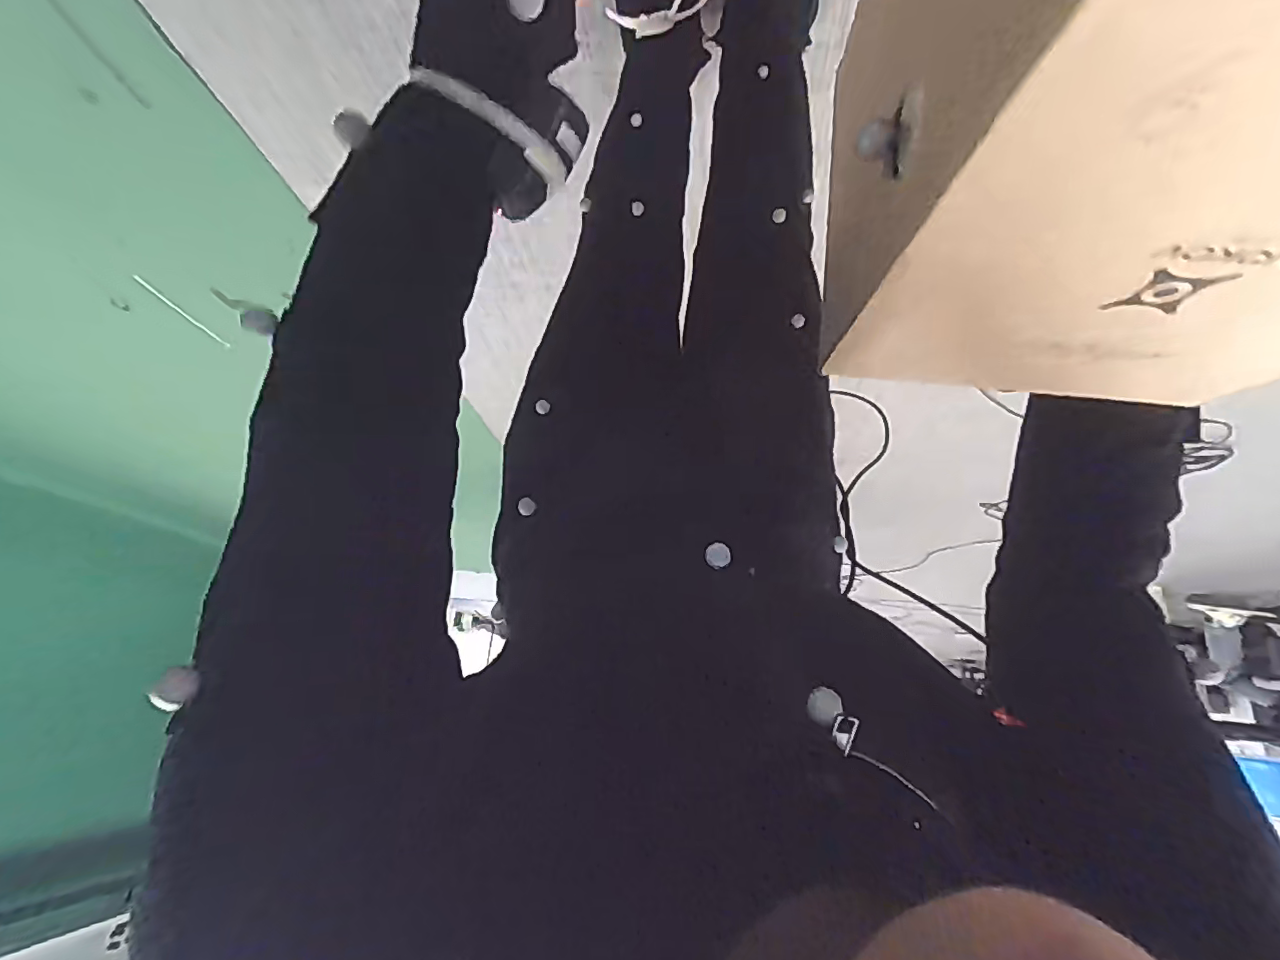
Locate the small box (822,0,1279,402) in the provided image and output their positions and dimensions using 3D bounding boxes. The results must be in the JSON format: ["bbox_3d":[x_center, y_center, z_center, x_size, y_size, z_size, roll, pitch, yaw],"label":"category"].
[{"bbox_3d":[0.166,-0.137,0.172,0.168,0.176,0.179,6,170,3],"label":"small box"}]
